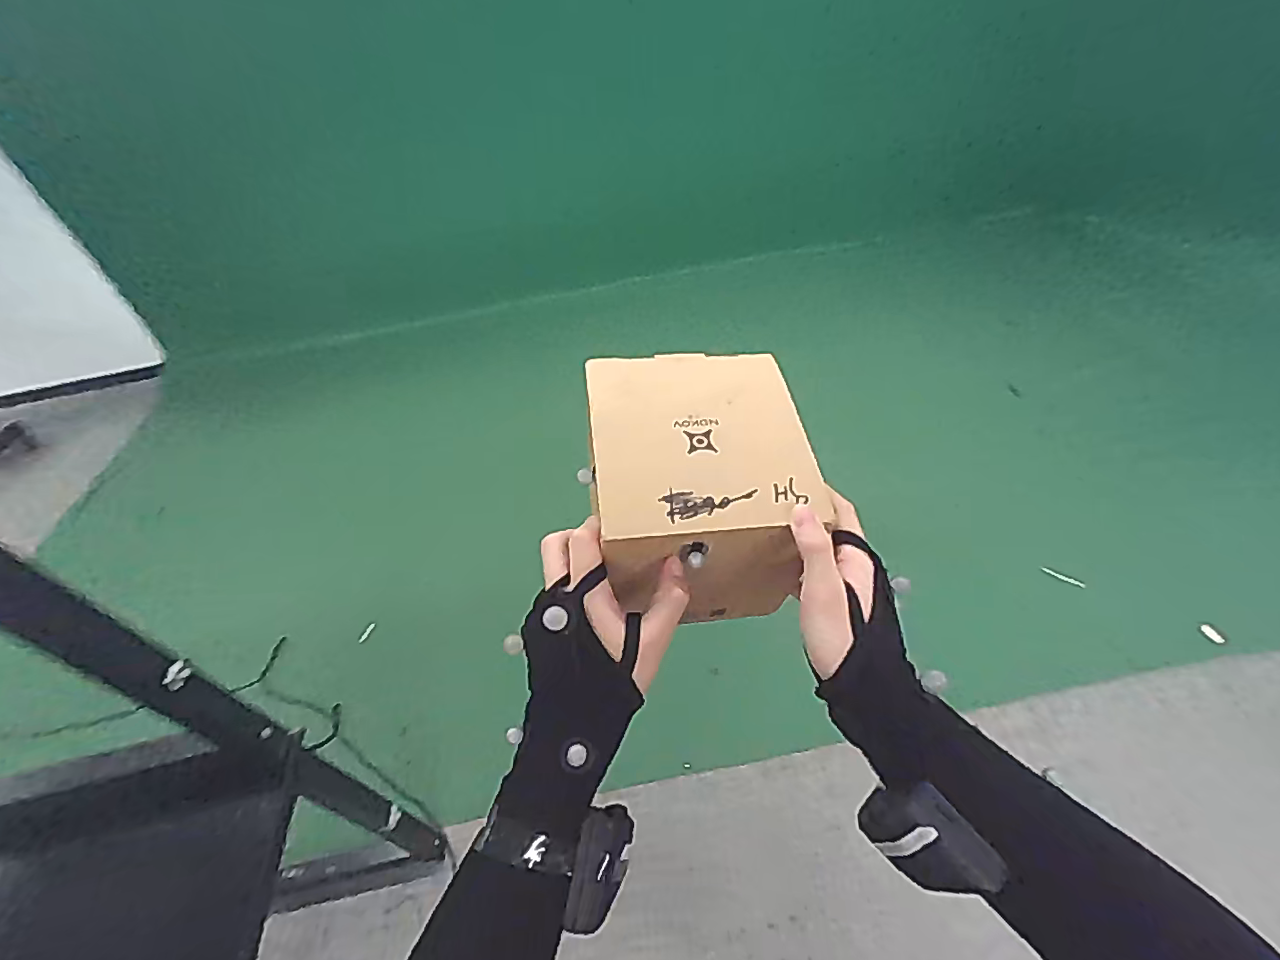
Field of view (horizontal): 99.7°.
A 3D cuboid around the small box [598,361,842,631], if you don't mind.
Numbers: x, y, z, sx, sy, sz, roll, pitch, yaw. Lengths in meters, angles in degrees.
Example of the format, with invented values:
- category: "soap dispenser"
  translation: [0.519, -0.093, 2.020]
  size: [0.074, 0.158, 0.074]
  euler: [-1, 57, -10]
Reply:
- category: "small box"
  translation: [0.048, 0.016, 0.481]
  size: [0.168, 0.176, 0.179]
  euler: [-3, 54, -6]
